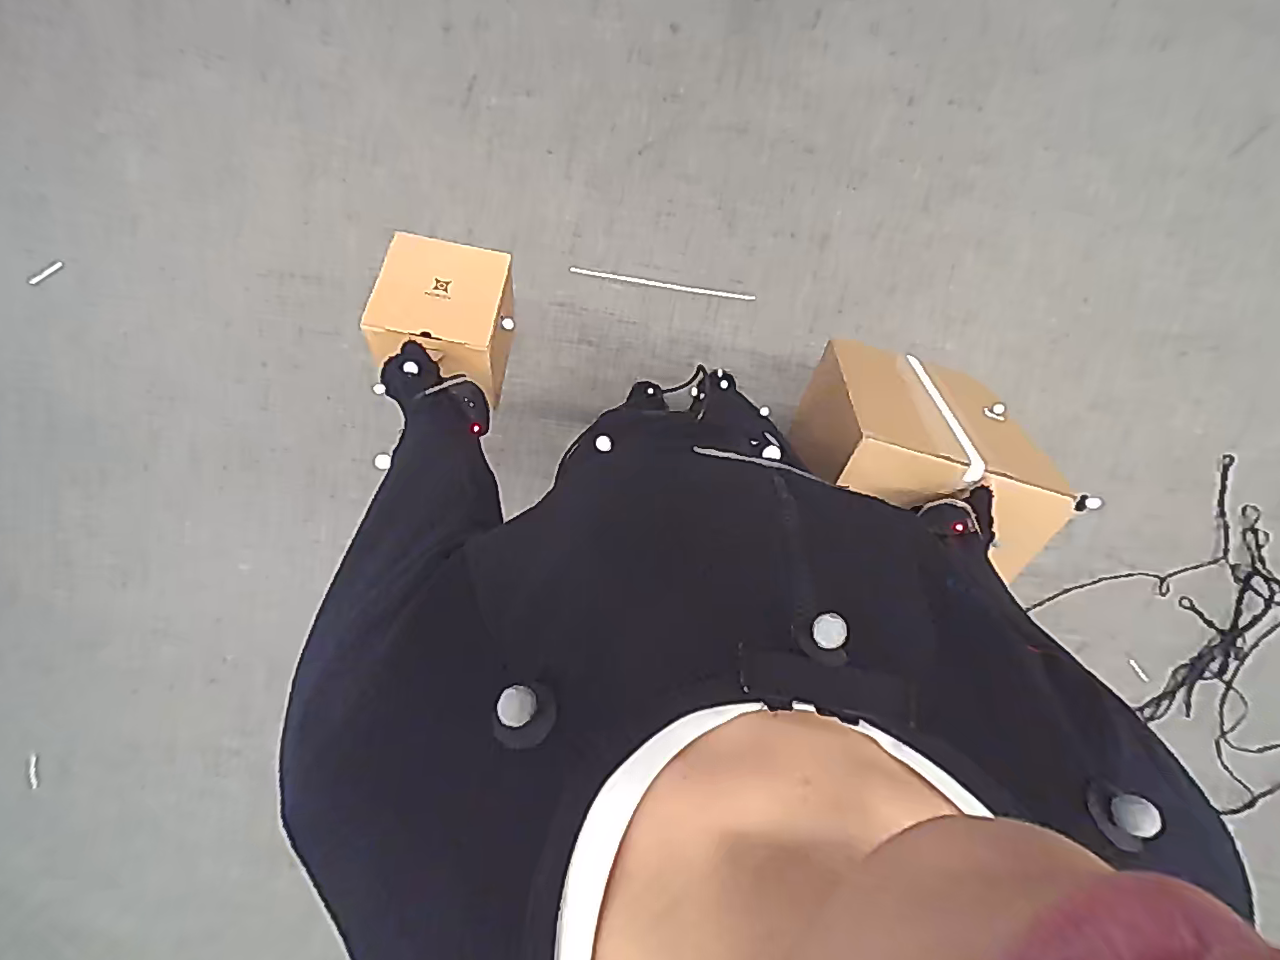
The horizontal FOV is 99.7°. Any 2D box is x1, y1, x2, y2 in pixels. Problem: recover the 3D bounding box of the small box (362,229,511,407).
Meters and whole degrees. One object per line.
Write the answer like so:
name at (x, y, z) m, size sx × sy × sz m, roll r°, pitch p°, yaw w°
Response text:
small box at (-0.294, -0.237, 0.822) m, size 0.168 × 0.176 × 0.179 m, roll 9°, pitch 66°, yaw -8°
